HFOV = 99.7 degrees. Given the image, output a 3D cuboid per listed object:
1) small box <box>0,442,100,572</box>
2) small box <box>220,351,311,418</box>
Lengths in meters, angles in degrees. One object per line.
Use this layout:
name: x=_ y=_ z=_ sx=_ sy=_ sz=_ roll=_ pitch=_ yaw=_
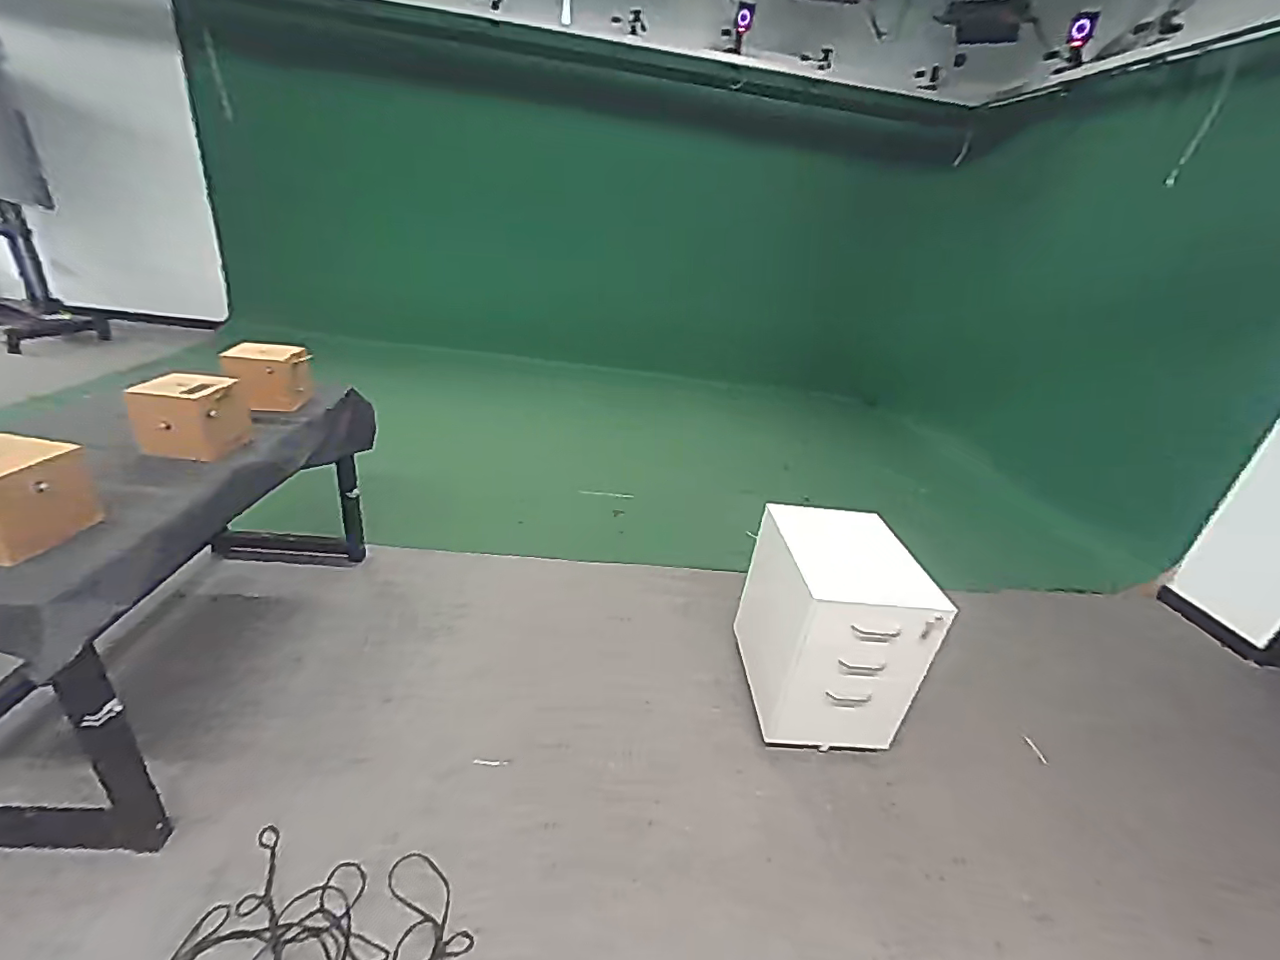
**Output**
small box: x=-1.155 y=0.048 z=0.983 sx=0.168 sy=0.176 sz=0.179 roll=9 pitch=24 yaw=0
small box: x=-1.171 y=-0.302 z=1.706 sx=0.179 sy=0.176 sz=0.168 roll=3 pitch=26 yaw=-11
